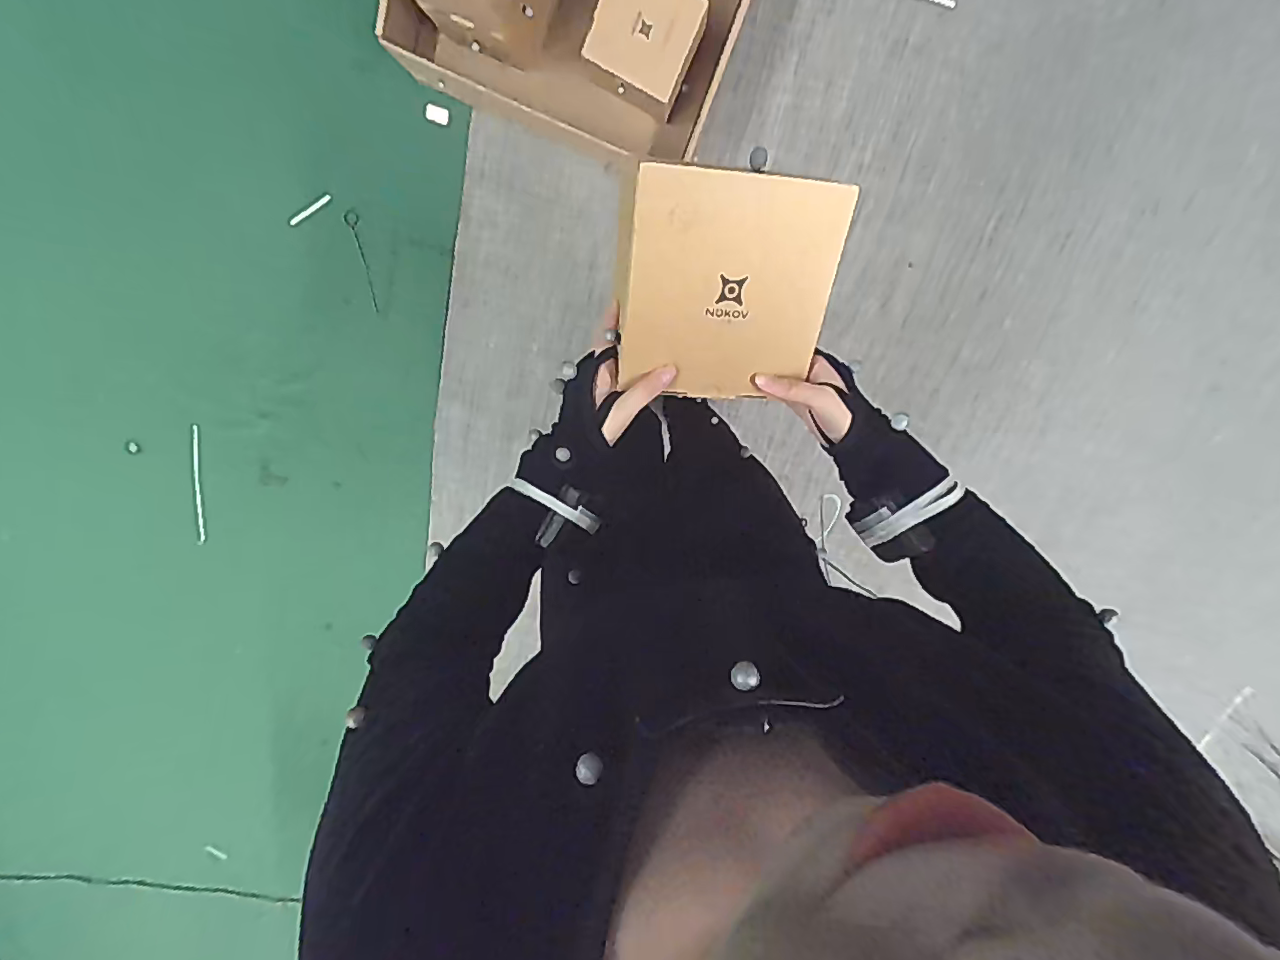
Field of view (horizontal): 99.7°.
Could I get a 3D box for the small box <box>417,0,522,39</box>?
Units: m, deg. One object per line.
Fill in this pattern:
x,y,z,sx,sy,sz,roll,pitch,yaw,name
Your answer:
-0.282,-0.841,0.845,0.179,0.176,0.168,19,110,-6,small box

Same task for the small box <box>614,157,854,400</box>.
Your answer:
0.065,-0.192,0.504,0.168,0.176,0.179,2,124,-7,small box
